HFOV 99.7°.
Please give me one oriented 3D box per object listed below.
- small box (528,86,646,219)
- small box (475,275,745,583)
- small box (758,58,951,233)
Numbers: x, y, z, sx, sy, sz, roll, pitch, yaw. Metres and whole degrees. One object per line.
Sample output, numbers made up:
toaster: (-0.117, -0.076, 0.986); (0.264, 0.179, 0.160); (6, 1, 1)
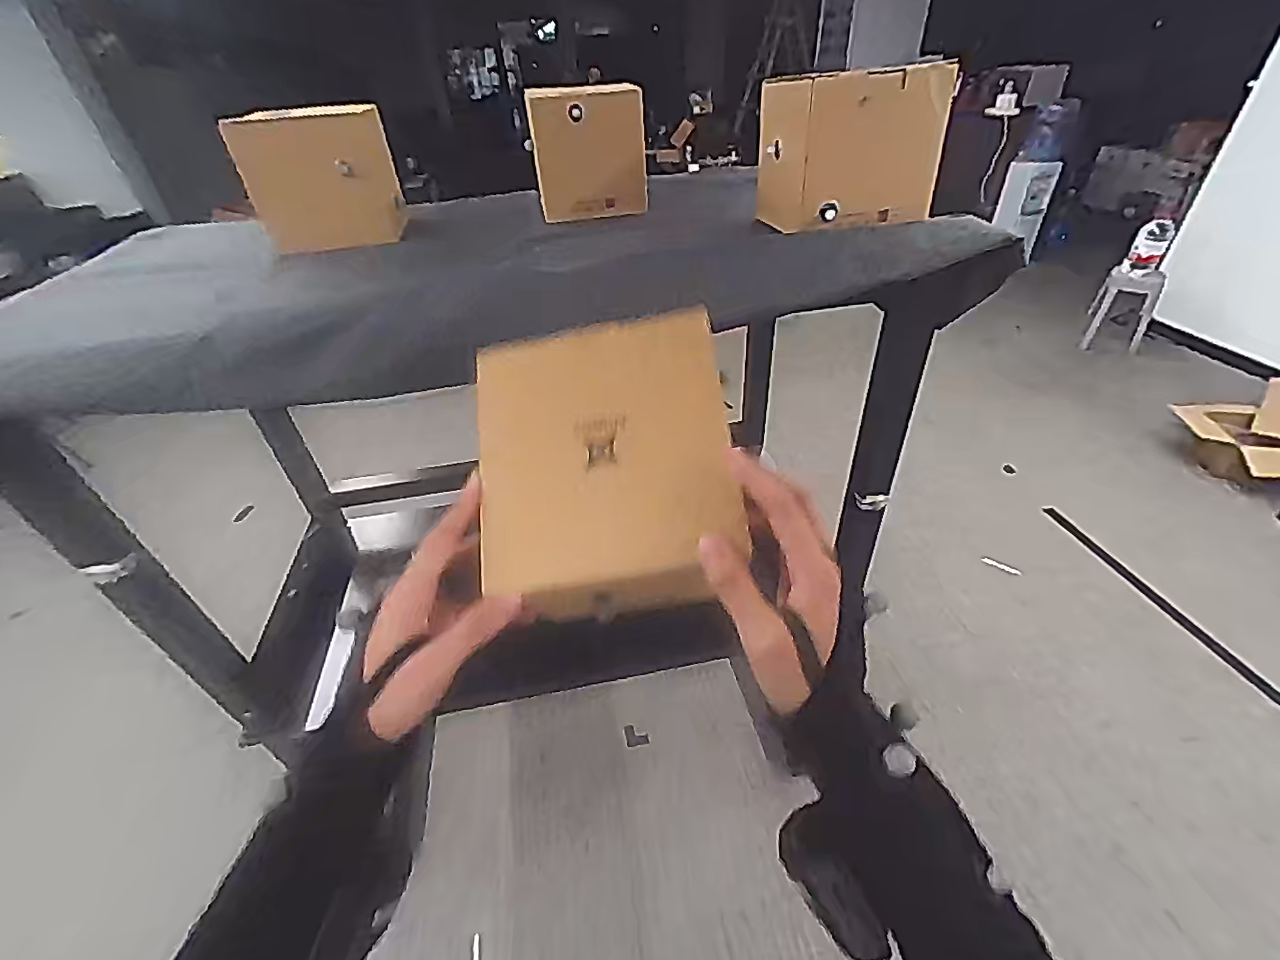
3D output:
small box: (-0.088, -0.538, 0.888); (0.168, 0.176, 0.179); (-10, 38, -7)
small box: (-0.015, -0.020, 0.420); (0.168, 0.176, 0.179); (-9, 70, 5)
small box: (0.258, -0.424, 0.697); (0.168, 0.176, 0.179); (-8, 34, -4)
